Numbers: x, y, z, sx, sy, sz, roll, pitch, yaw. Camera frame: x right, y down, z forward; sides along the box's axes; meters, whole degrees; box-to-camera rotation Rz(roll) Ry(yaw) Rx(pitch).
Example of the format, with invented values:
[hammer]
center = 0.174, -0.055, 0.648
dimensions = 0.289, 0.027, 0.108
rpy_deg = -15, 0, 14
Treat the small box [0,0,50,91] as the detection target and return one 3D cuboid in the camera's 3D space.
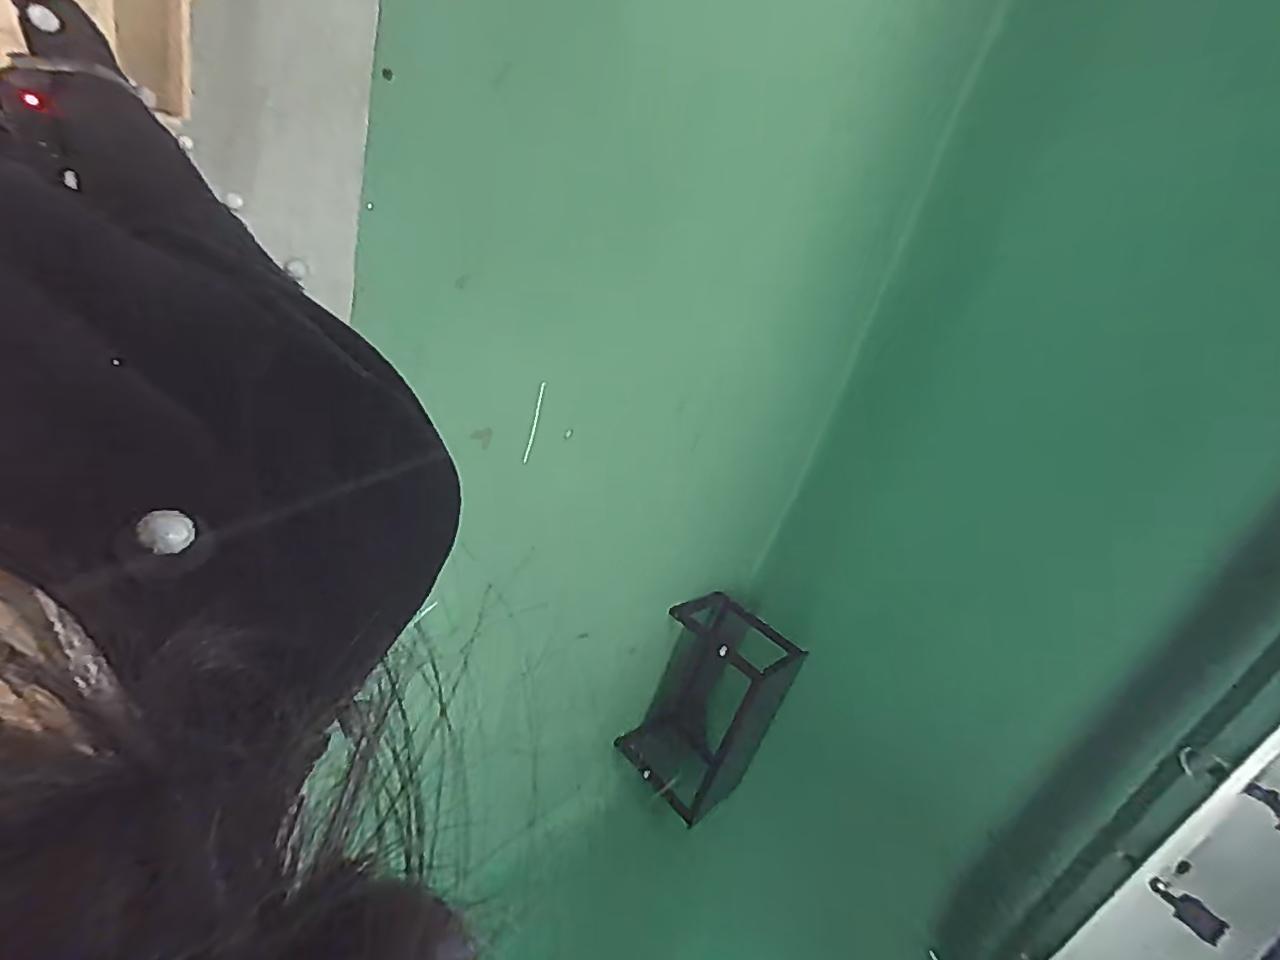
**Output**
[small box]
center = -0.662, -0.415, 0.461
dimensions = 0.179, 0.176, 0.168
rpy_deg = -47, 143, -3
